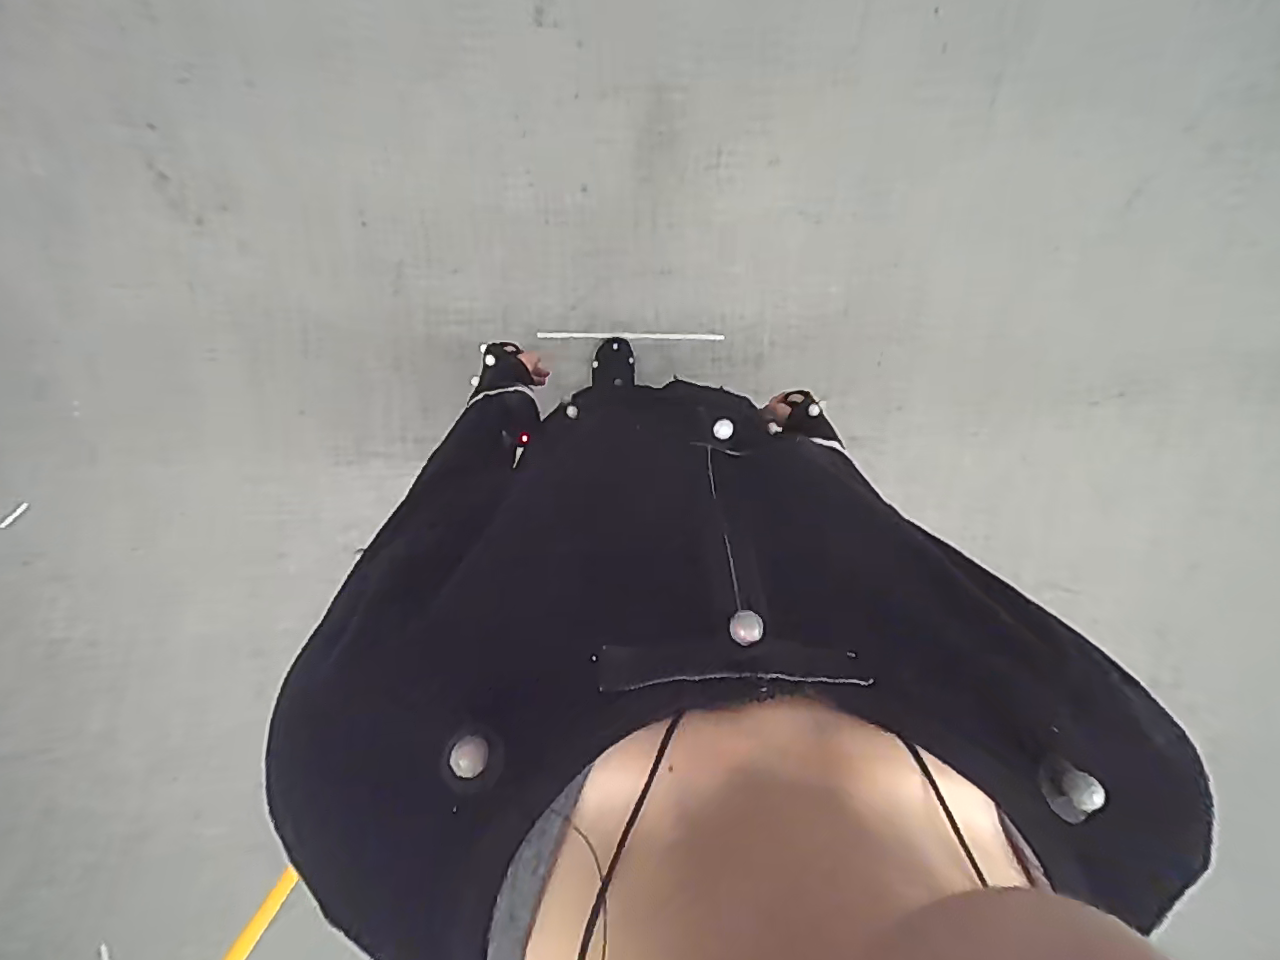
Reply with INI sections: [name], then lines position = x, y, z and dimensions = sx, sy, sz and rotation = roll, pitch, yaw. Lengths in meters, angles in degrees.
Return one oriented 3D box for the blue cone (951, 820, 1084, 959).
[blue cone]
position = 1.159, 1.258, 1.637
dimensions = 0.193, 0.380, 0.192
rotation = -45, 100, 2
